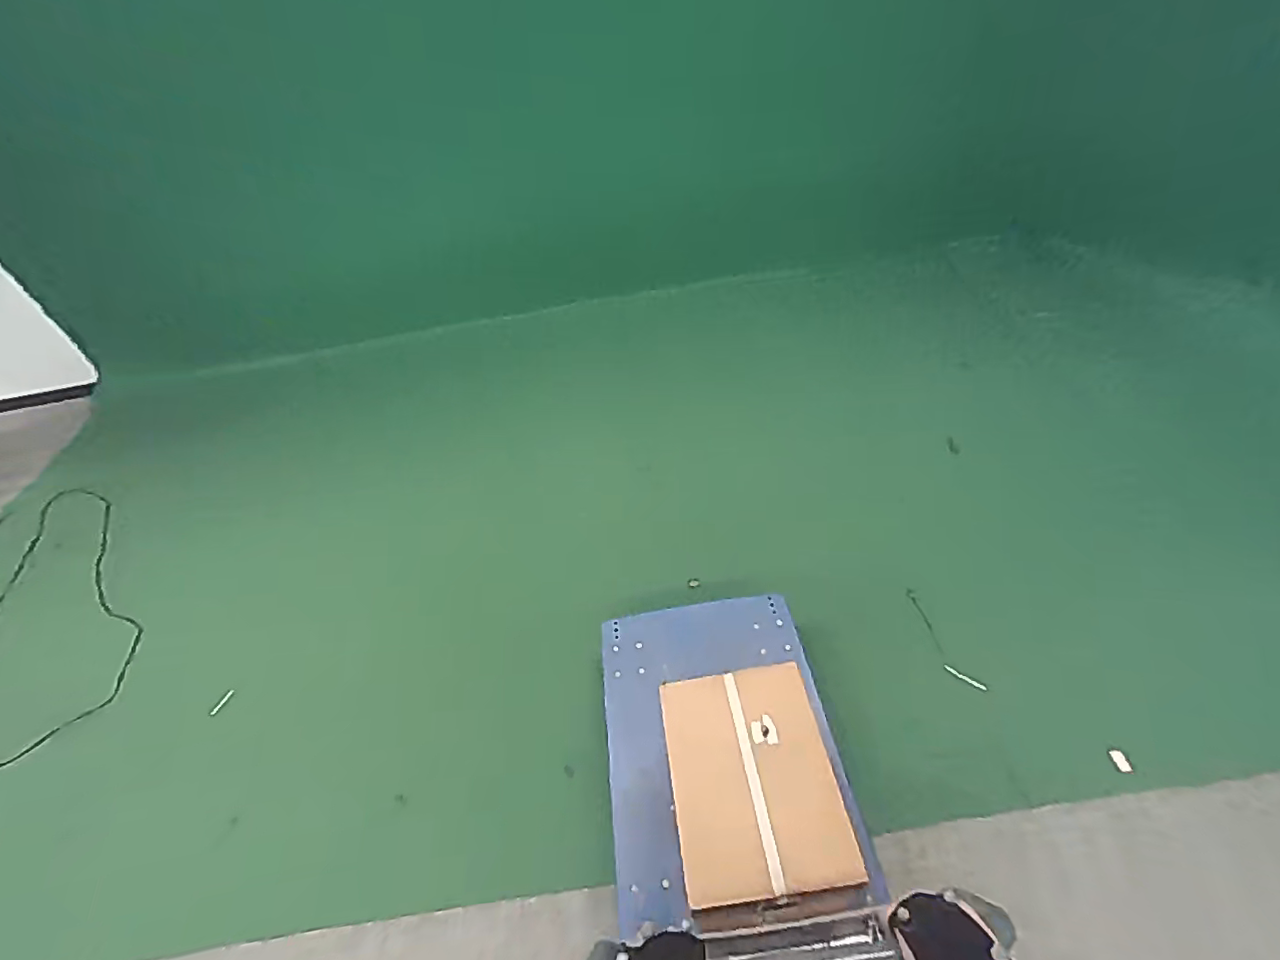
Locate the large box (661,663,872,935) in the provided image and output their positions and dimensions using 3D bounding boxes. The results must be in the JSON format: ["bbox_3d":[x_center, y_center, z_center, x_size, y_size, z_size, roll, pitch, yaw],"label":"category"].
[{"bbox_3d":[0.239,0.669,1.150,0.320,0.320,0.408,-9,43,0],"label":"large box"}]
